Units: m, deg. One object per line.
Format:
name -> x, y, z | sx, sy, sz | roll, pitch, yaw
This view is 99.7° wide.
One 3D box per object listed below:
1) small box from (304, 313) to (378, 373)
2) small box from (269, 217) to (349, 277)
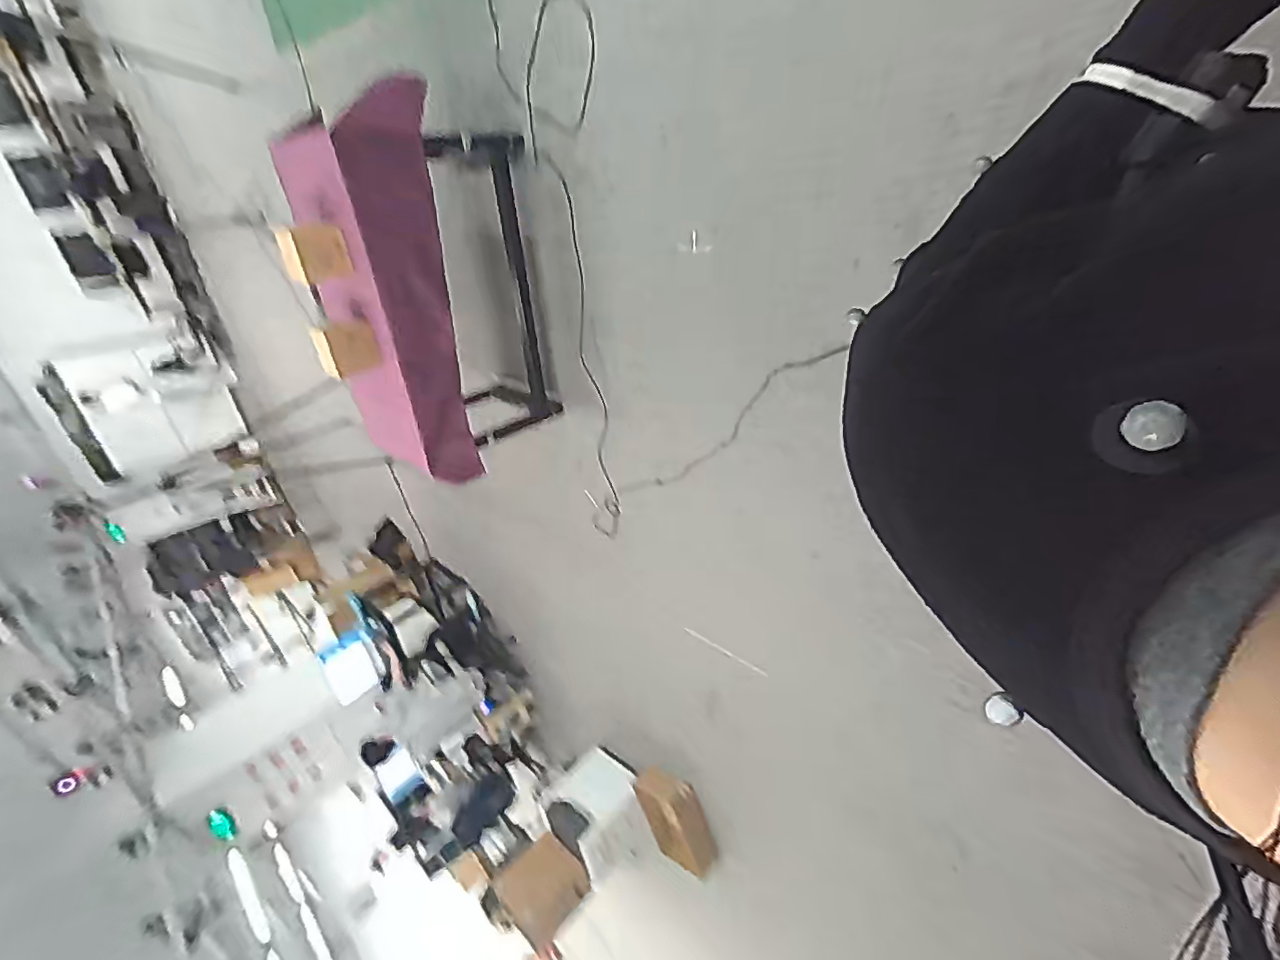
small box -> -1.123, -0.524, 2.041 | 0.168, 0.176, 0.179 | 23, 130, 38
small box -> -1.138, -0.813, 1.873 | 0.179, 0.176, 0.168 | 25, 130, 37
